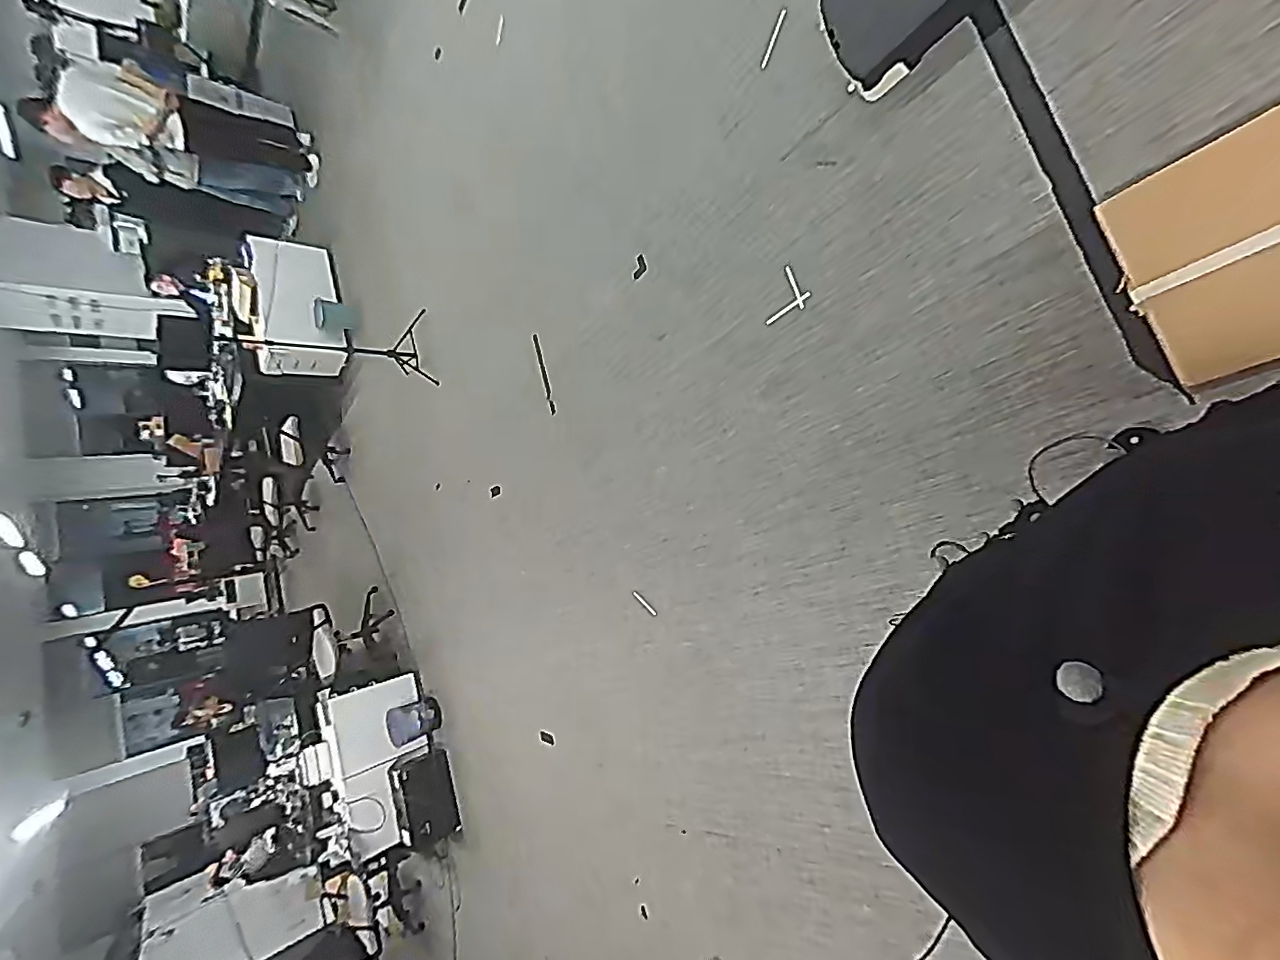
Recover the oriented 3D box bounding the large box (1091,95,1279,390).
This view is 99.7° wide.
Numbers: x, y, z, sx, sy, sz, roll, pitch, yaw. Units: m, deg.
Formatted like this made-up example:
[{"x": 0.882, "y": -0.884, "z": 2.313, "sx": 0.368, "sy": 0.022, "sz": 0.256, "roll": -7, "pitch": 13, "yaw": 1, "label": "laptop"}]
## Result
[{"x": 0.966, "y": -0.359, "z": 0.770, "sx": 0.408, "sy": 0.320, "sz": 0.320, "roll": -27, "pitch": 76, "yaw": 44, "label": "large box"}]
